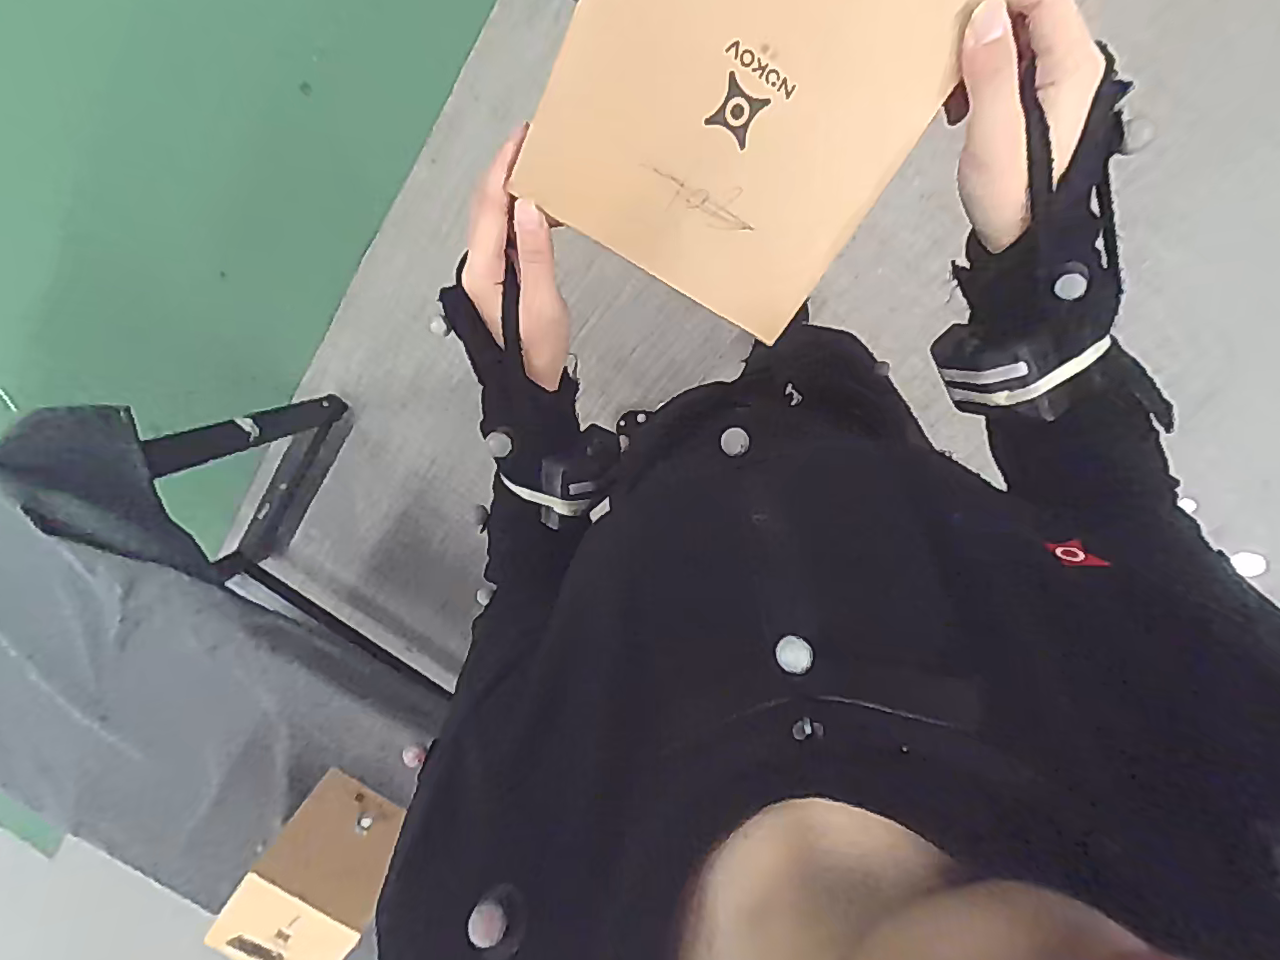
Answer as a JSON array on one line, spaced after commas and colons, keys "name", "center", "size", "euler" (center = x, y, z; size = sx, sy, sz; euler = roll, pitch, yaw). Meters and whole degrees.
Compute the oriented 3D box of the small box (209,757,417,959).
[{"name": "small box", "center": [-0.460, 0.554, 0.787], "size": [0.168, 0.176, 0.179], "euler": [36, 108, -6]}]
